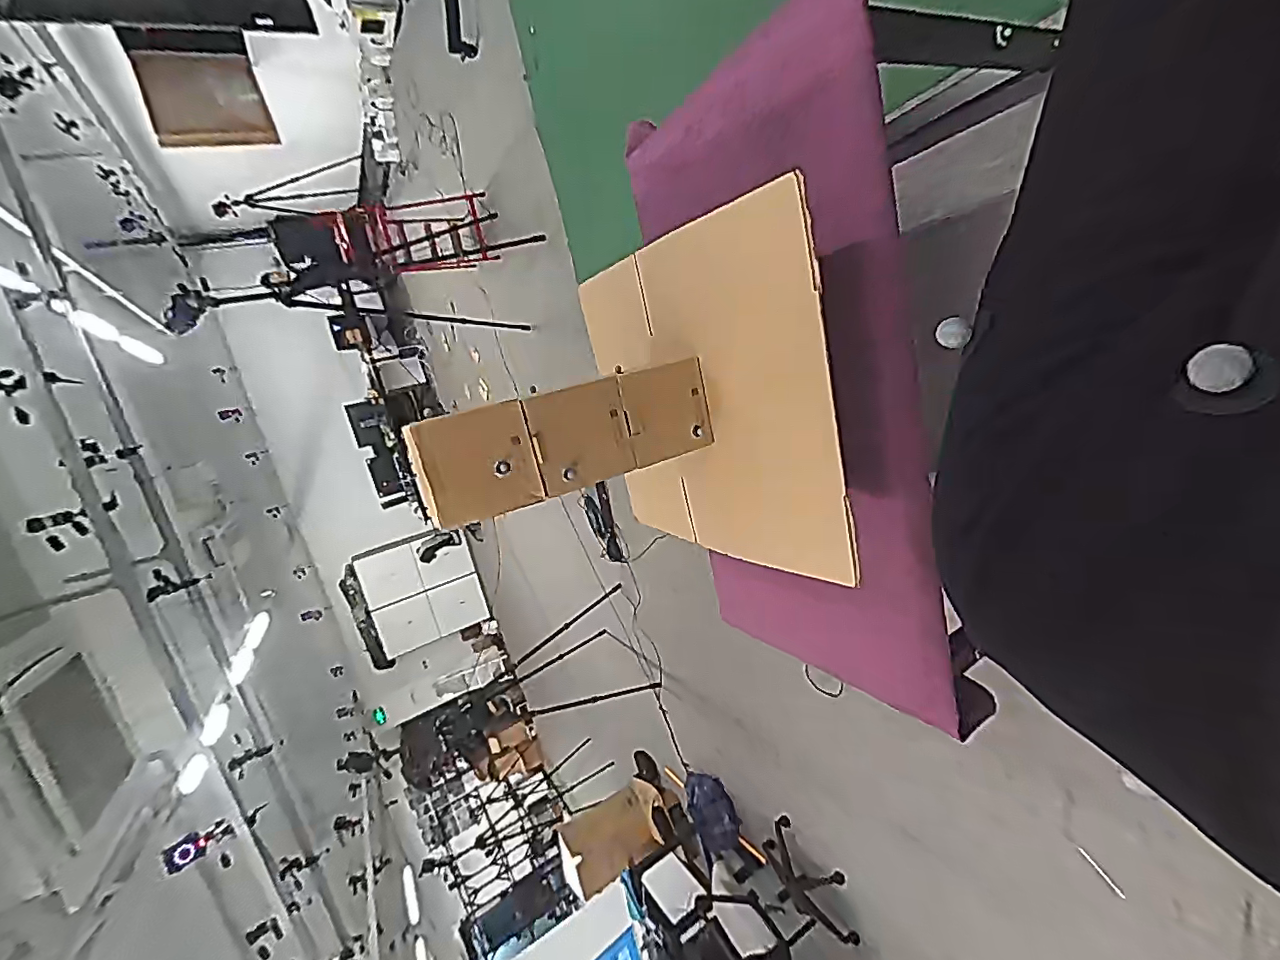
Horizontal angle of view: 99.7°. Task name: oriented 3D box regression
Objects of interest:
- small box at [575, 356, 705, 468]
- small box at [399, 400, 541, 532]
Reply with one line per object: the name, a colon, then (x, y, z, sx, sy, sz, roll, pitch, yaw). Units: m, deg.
small box: (0.006, -0.128, 1.016, 0.179, 0.176, 0.168, 6, 113, 60)
small box: (-0.277, -0.030, 0.879, 0.179, 0.176, 0.168, 9, 115, 62)
